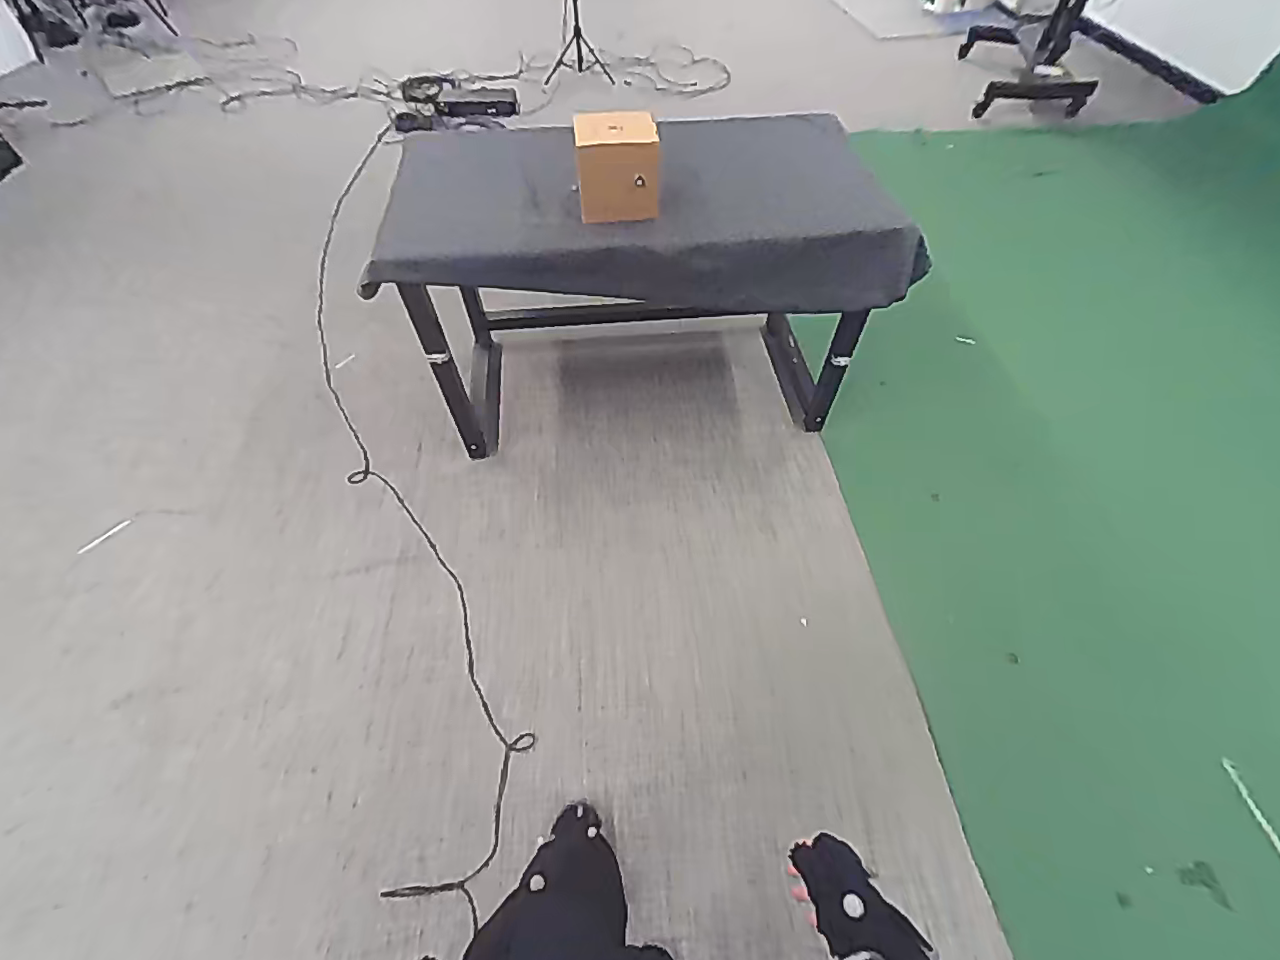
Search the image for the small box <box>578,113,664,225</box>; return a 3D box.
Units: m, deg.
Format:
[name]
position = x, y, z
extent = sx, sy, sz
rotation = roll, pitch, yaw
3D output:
[small box]
position = -0.044, -0.701, 1.226
extent = 0.179, 0.176, 0.168
rotation = -6, 53, -3
